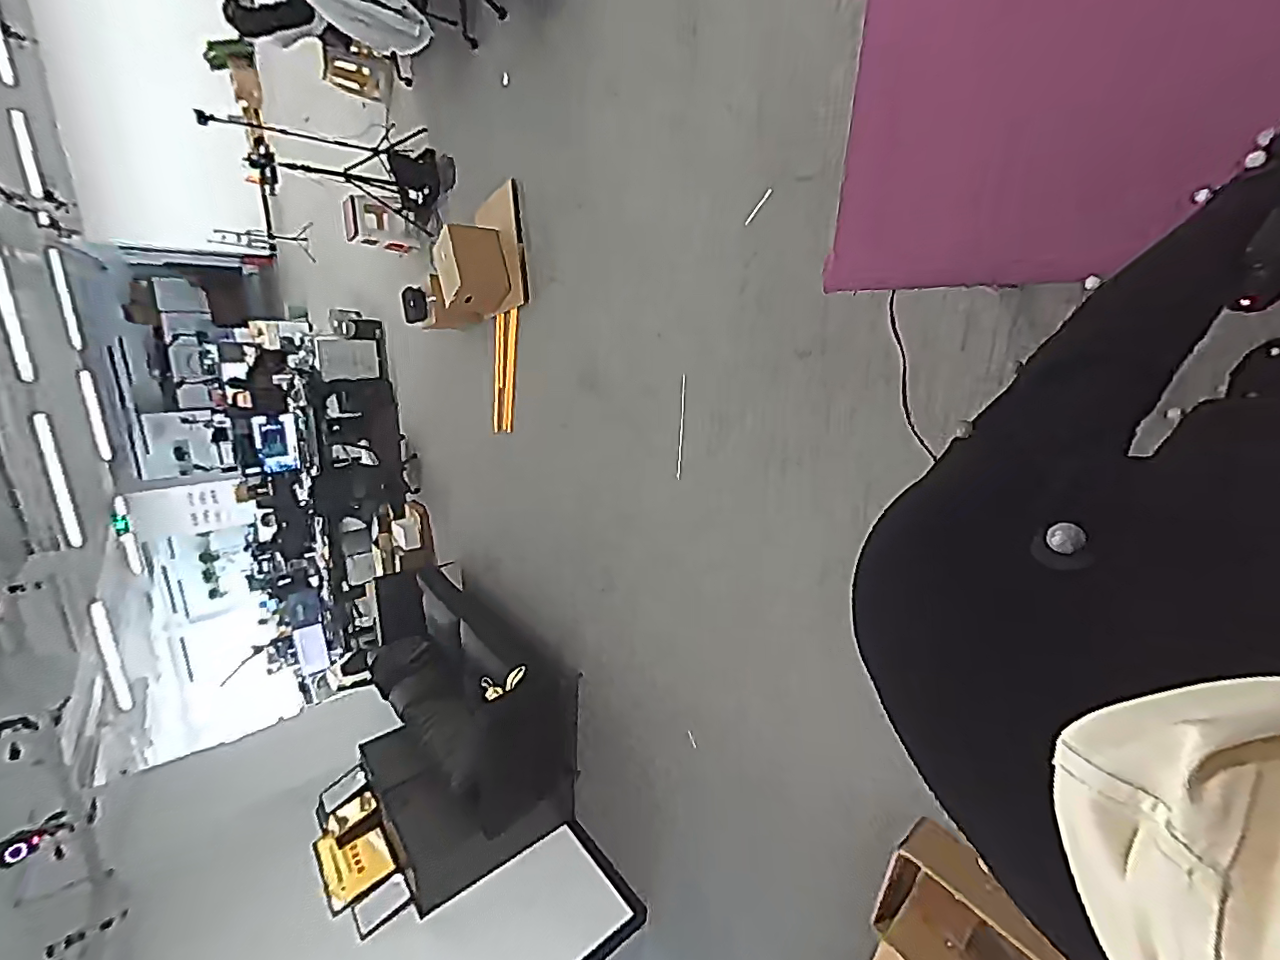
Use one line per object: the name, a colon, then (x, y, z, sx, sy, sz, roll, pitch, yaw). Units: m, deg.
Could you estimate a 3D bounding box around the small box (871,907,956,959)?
small box: (0.788, 1.409, 1.572, 0.168, 0.176, 0.179, 29, 122, 42)
